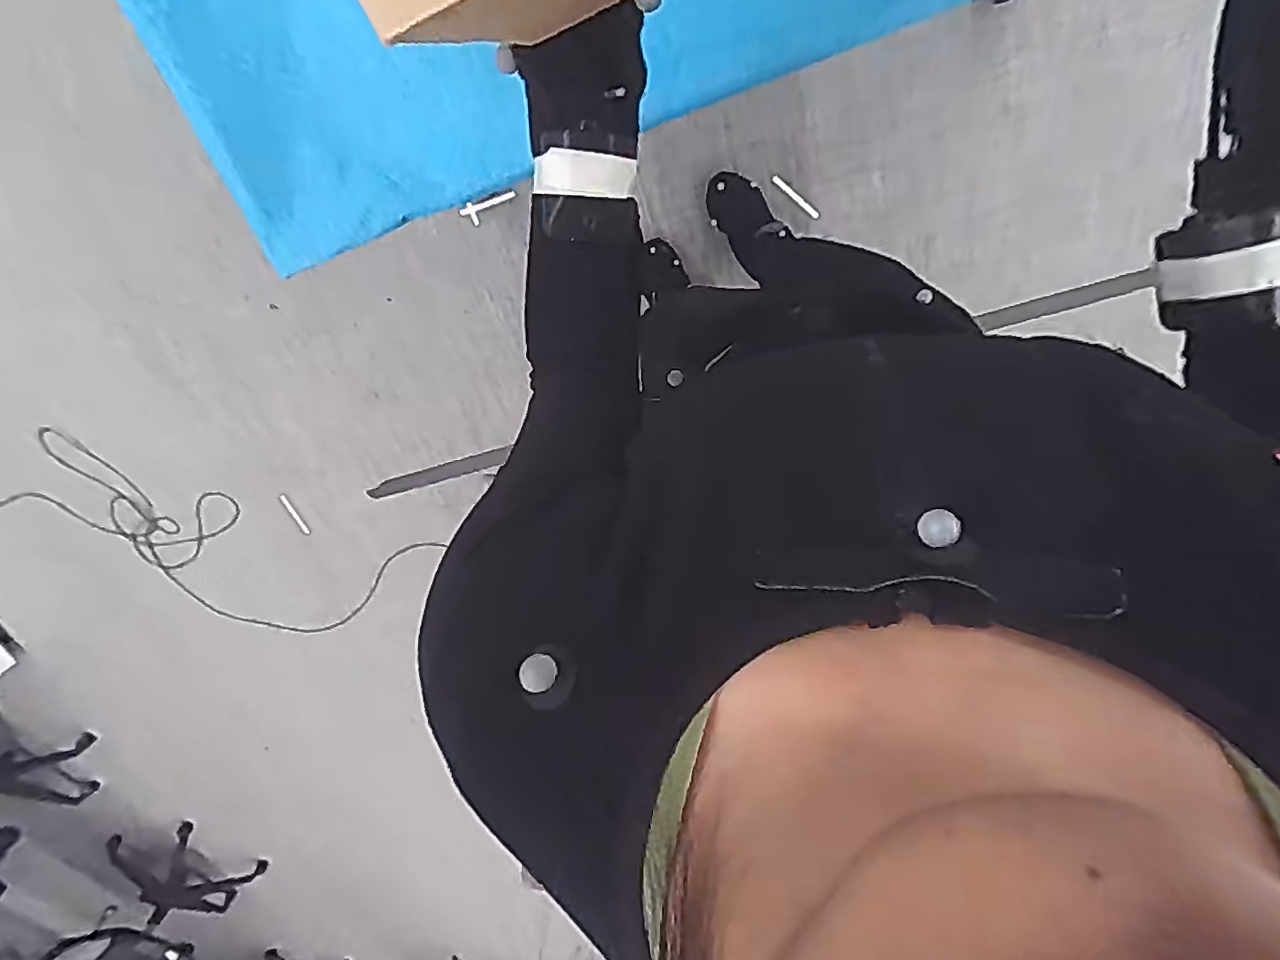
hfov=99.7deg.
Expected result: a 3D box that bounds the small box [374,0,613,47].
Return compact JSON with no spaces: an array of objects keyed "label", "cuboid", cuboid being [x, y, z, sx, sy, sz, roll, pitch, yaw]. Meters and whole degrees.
[{"label":"small box","cuboid":[-0.023,-0.273,0.168,0.168,0.176,0.179,-12,125,17]}]
